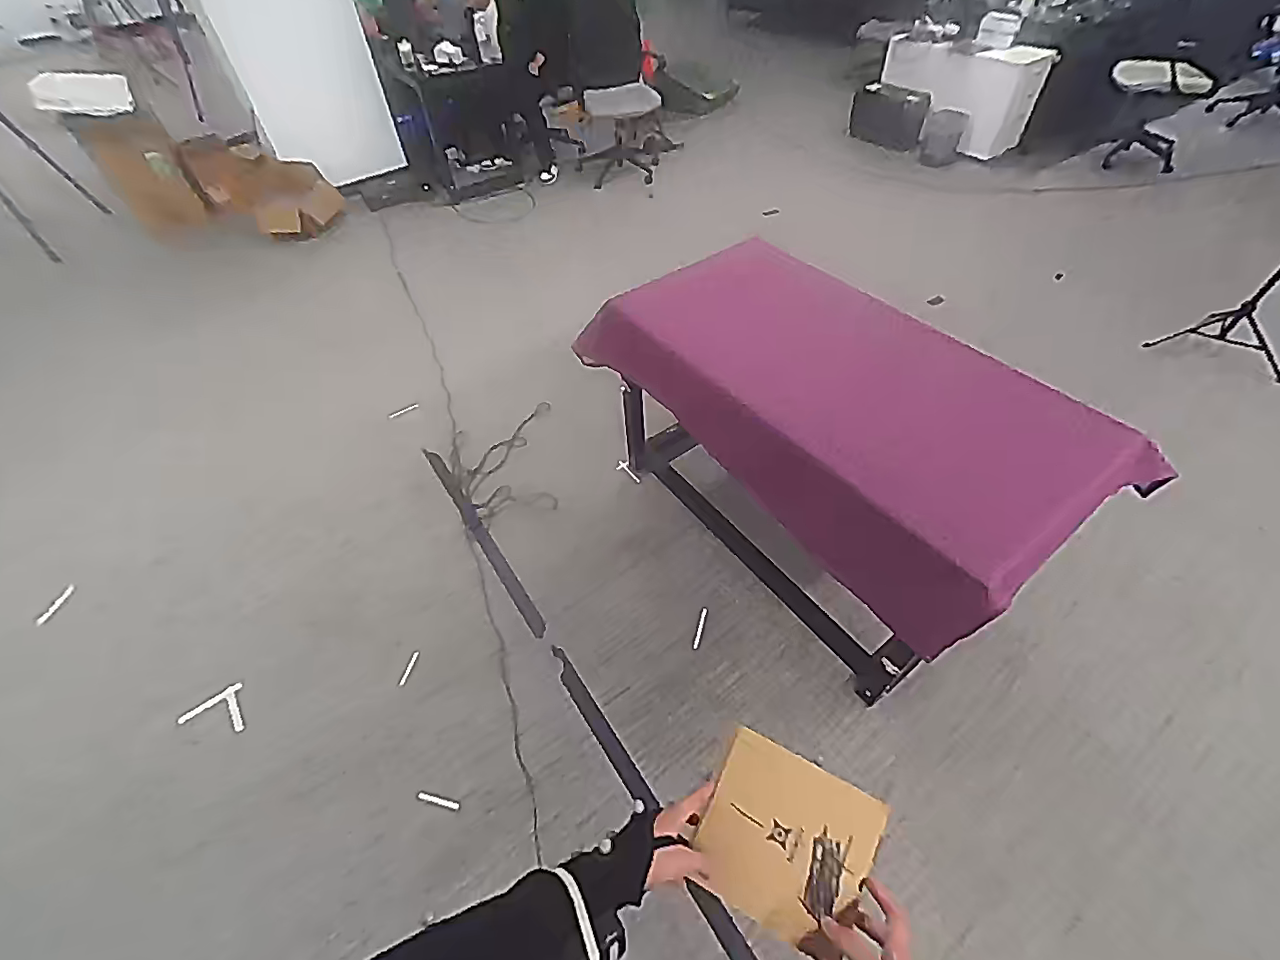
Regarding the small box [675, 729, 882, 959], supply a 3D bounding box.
[{"bbox_3d":[0.158,0.418,0.656,0.179,0.176,0.168,24,71,16],"label":"small box"}]
